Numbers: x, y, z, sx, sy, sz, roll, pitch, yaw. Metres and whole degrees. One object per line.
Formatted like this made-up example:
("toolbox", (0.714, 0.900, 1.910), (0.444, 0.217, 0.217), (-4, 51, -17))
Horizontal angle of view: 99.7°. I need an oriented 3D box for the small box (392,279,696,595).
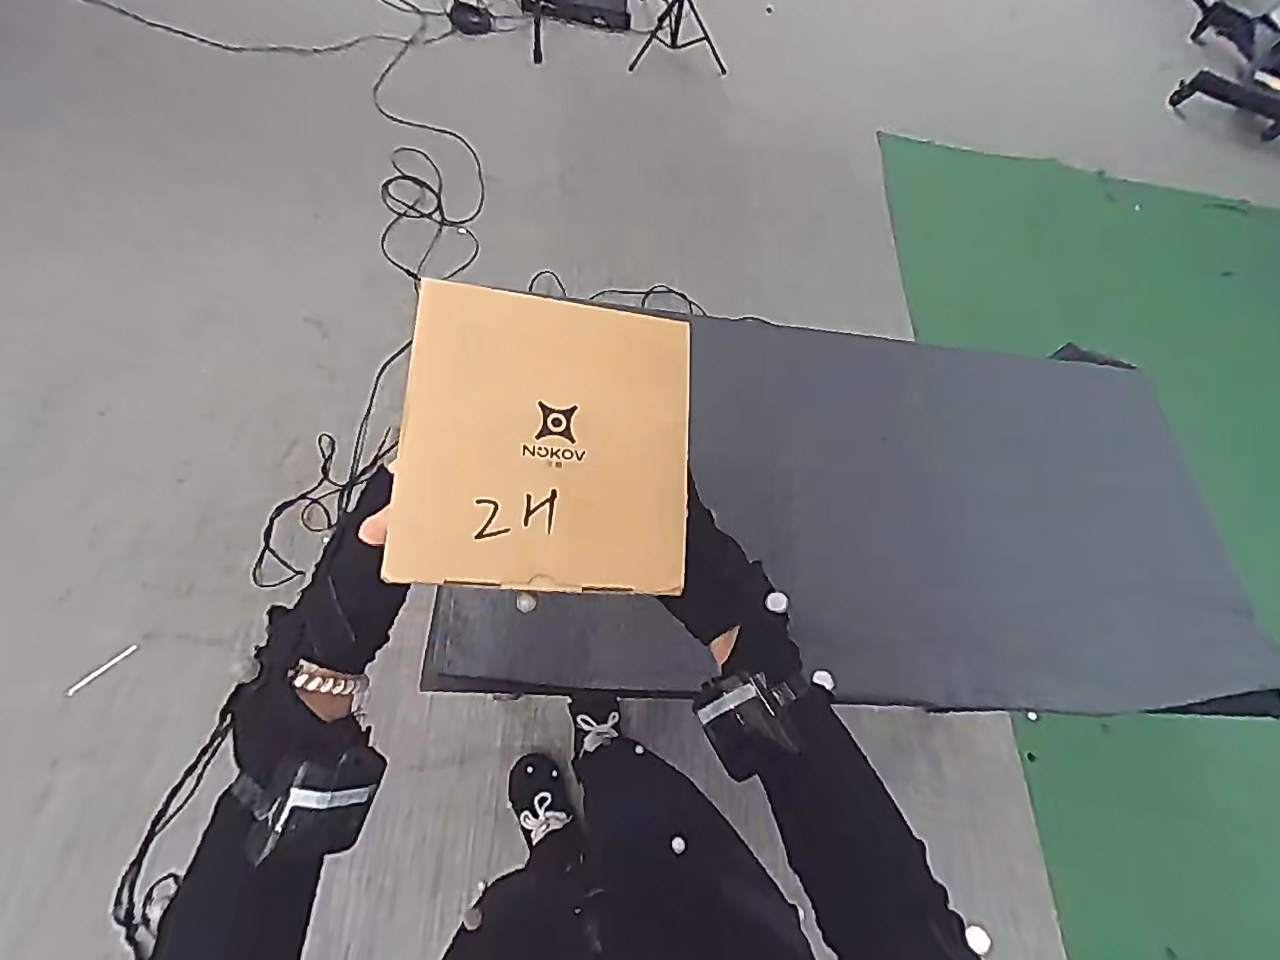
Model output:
("small box", (-0.067, -0.010, 0.391), (0.168, 0.176, 0.179), (6, 78, -14))
